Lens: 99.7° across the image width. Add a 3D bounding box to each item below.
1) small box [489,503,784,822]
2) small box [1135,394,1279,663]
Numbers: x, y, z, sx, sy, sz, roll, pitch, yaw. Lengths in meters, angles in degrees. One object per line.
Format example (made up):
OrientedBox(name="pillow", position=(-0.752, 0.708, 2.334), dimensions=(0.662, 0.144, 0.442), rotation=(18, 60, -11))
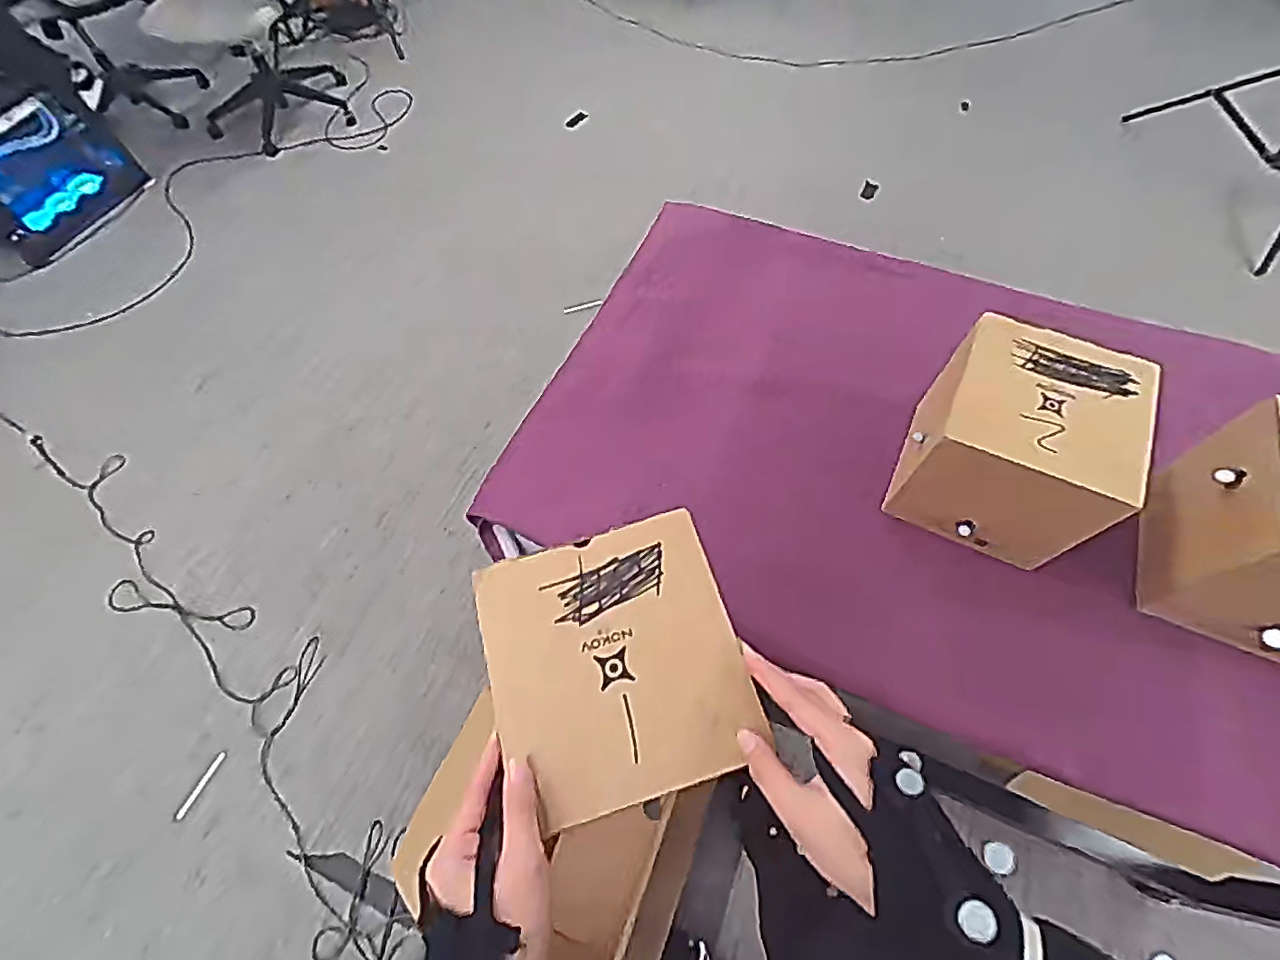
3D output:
OrientedBox(name="small box", position=(-0.008, 0.146, 0.432), dimensions=(0.168, 0.176, 0.179), rotation=(-15, 63, -5))
OrientedBox(name="small box", position=(0.627, 0.055, 0.518), dimensions=(0.168, 0.176, 0.179), rotation=(22, 64, 15))
